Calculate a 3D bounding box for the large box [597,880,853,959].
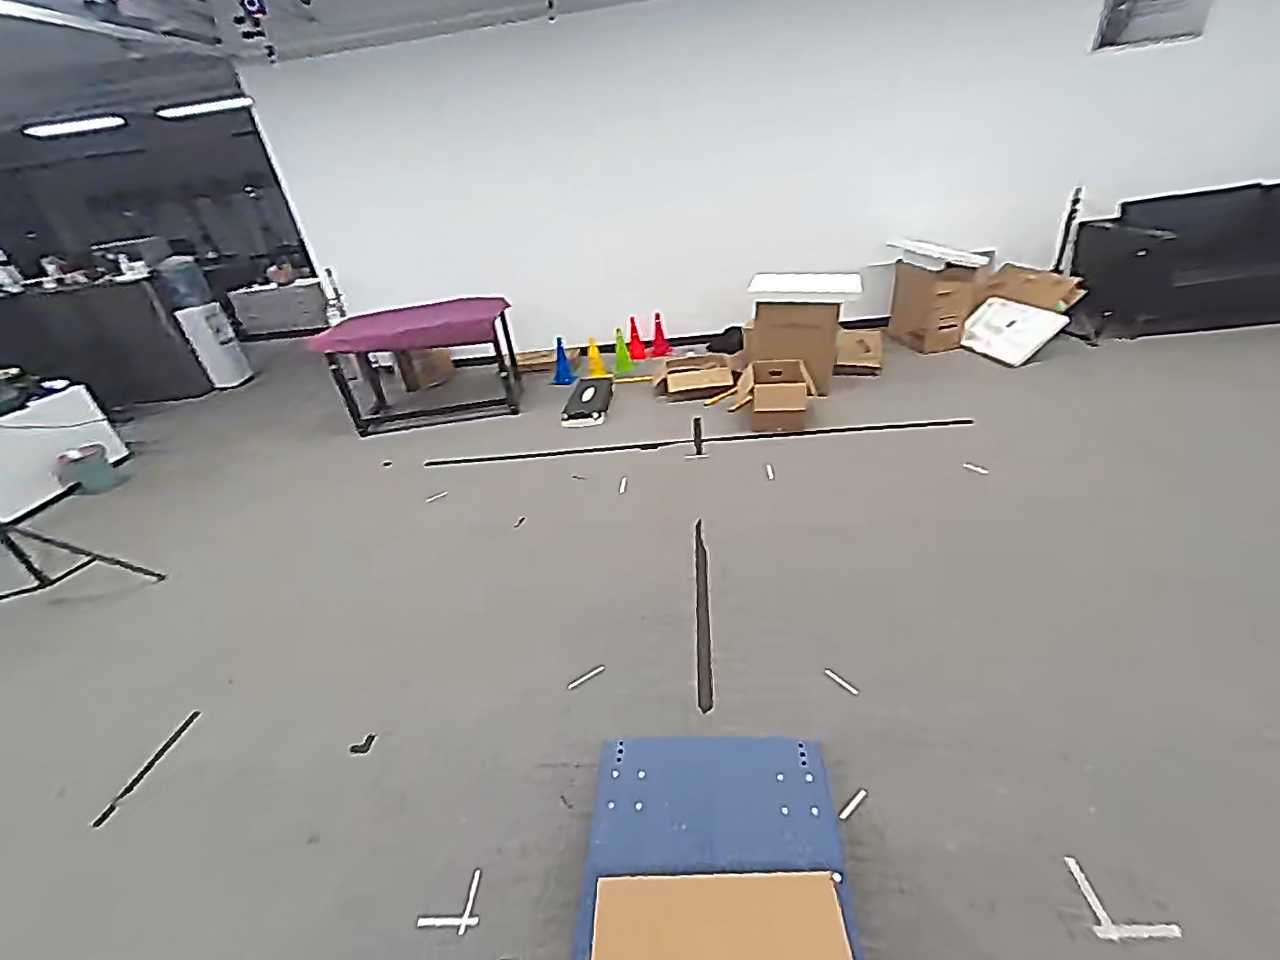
[{"bbox_3d":[0.141,0.900,0.871,0.408,0.320,0.320,-4,31,4],"label":"large box"}]
